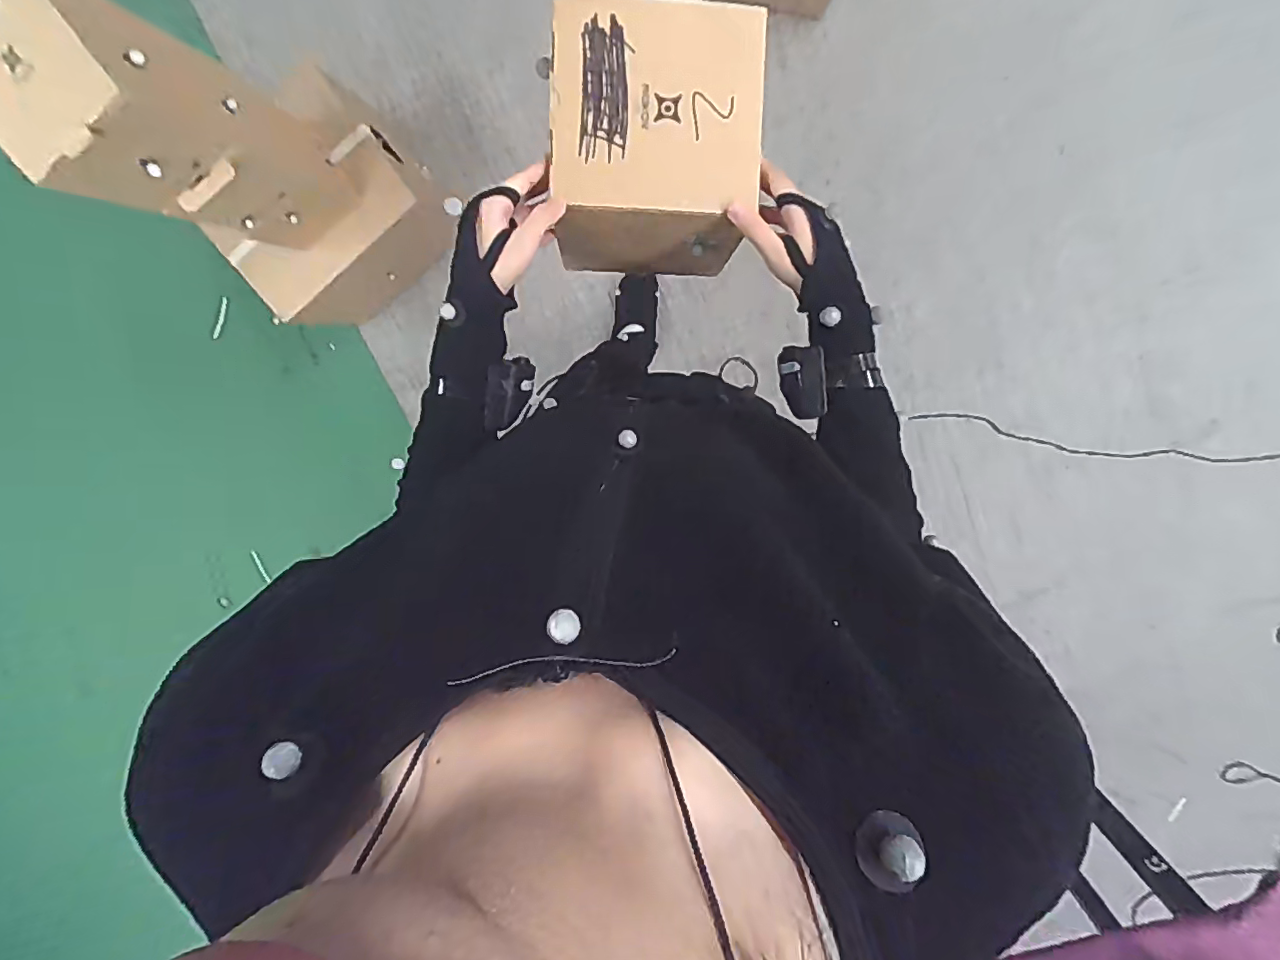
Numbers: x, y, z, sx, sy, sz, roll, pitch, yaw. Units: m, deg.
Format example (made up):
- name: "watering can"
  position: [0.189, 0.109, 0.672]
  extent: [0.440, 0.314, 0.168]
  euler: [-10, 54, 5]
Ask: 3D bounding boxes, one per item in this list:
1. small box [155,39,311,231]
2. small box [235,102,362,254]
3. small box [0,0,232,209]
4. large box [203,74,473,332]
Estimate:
- name: "small box"
  position: [-0.668, -0.513, 0.842]
  extent: [0.168, 0.176, 0.179]
  euler: [-31, 102, 10]
- name: "small box"
  position: [-0.665, -0.545, 1.003]
  extent: [0.179, 0.176, 0.168]
  euler: [-32, 102, 10]
- name: "small box"
  position: [-0.682, -0.471, 0.684]
  extent: [0.168, 0.176, 0.179]
  euler: [-32, 103, 10]
- name: "large box"
  position: [-0.672, -0.590, 1.246]
  extent: [0.408, 0.320, 0.320]
  euler: [-36, 99, 13]
